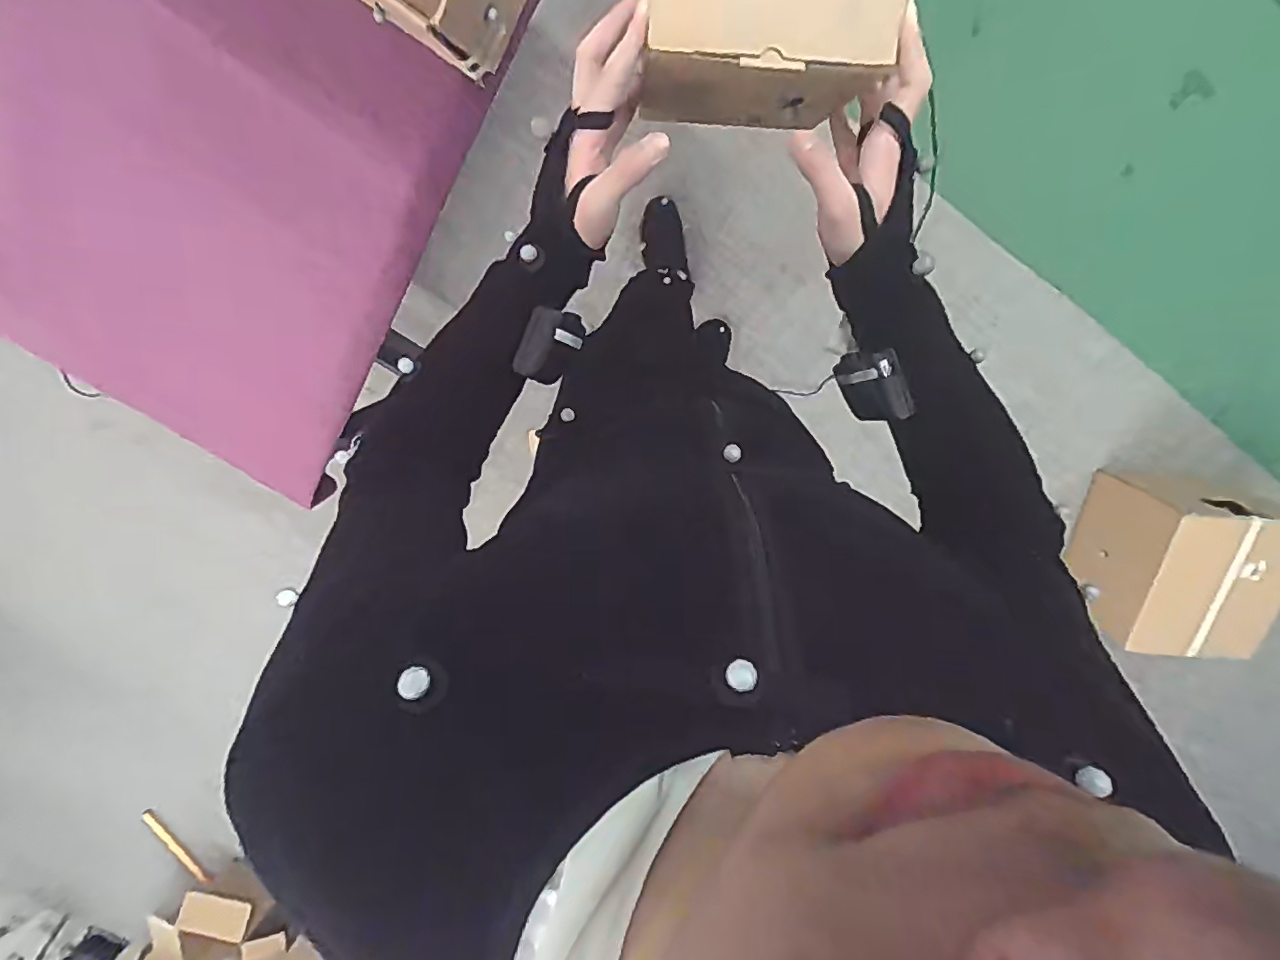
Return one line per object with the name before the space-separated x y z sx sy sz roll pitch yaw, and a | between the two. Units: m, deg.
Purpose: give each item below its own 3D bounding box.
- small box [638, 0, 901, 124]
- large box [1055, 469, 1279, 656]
small box | 0.086 -0.383 0.397 0.168 0.176 0.179 2 111 -4
large box | 1.434 0.214 1.478 0.320 0.320 0.408 3 111 4
